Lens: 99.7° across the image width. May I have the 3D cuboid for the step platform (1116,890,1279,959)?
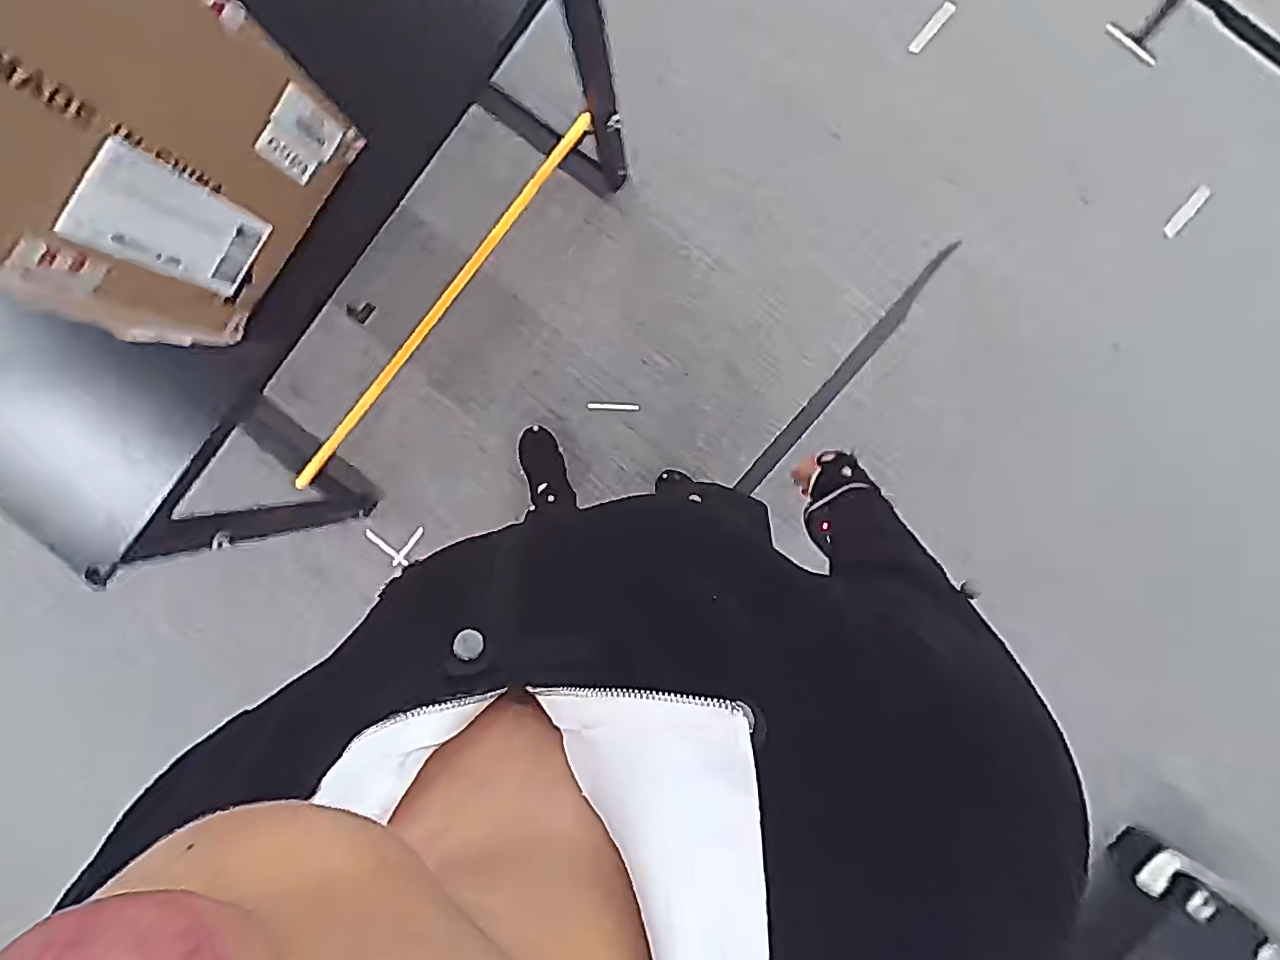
[{"bbox_3d":[1.165,1.270,1.183,0.286,0.204,0.684,39,94,0],"label":"step platform"}]
